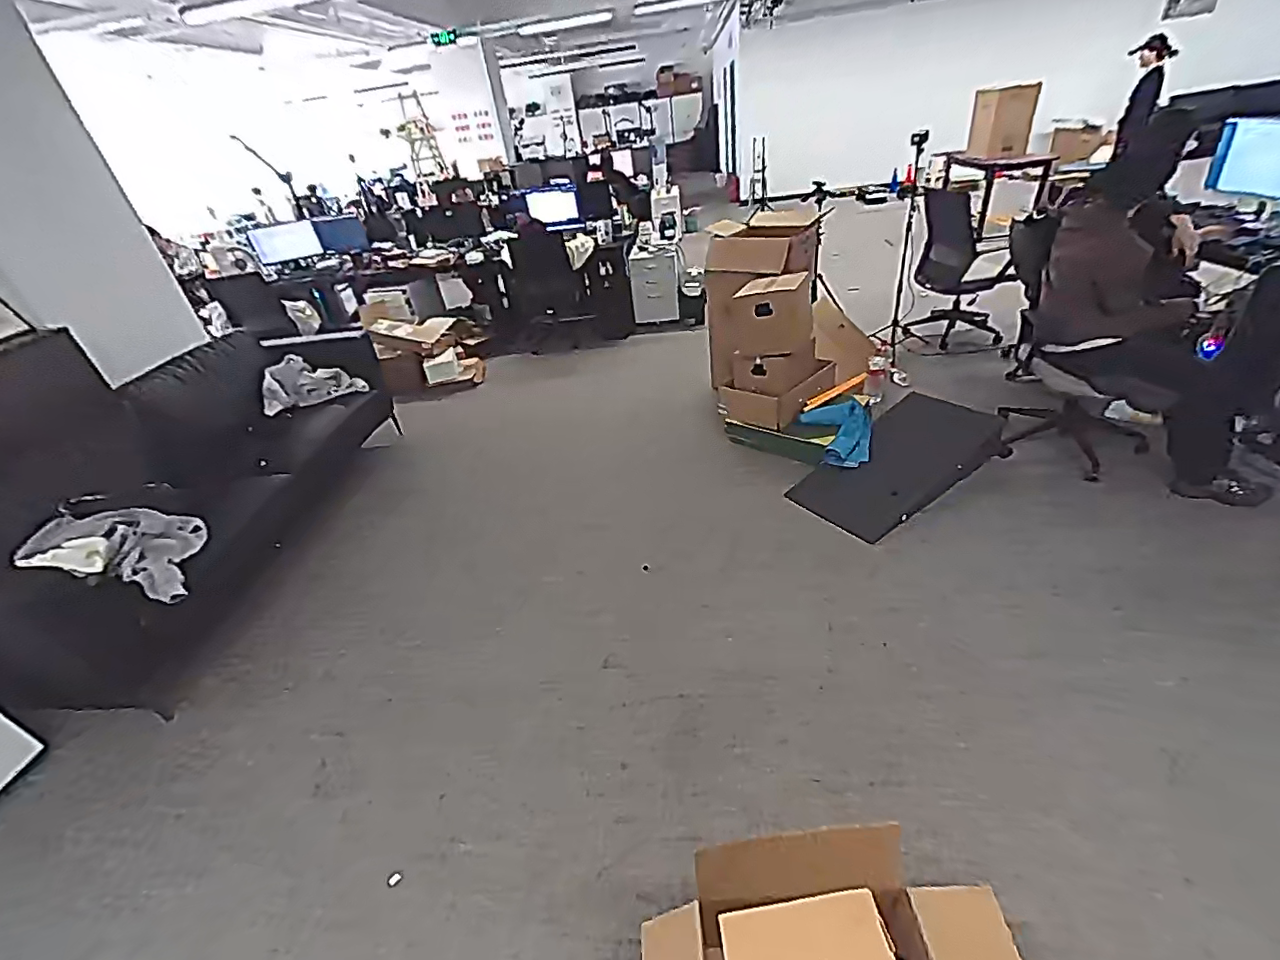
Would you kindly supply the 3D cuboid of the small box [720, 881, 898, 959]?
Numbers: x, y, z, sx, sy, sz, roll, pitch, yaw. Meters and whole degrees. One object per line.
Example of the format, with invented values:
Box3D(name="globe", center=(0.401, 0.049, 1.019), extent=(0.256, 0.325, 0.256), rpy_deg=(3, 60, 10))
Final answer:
Box3D(name="small box", center=(0.195, 0.571, 0.572), extent=(0.179, 0.176, 0.168), rpy_deg=(-15, 23, 7))
